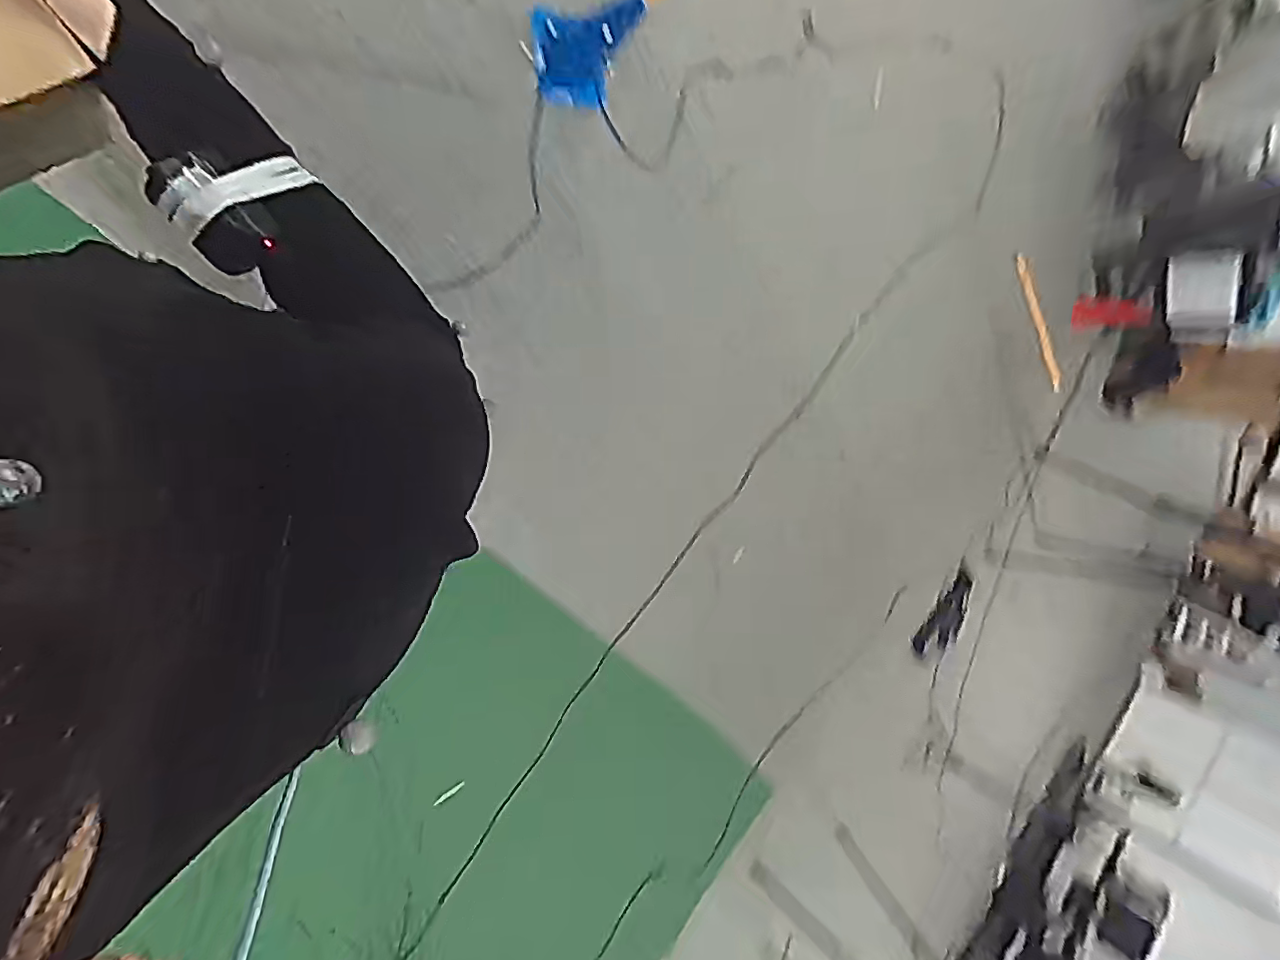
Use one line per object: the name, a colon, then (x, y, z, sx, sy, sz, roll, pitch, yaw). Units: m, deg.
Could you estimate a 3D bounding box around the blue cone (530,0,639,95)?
blue cone: (-0.091, -1.063, 1.255, 0.193, 0.380, 0.192, -19, 114, -28)
